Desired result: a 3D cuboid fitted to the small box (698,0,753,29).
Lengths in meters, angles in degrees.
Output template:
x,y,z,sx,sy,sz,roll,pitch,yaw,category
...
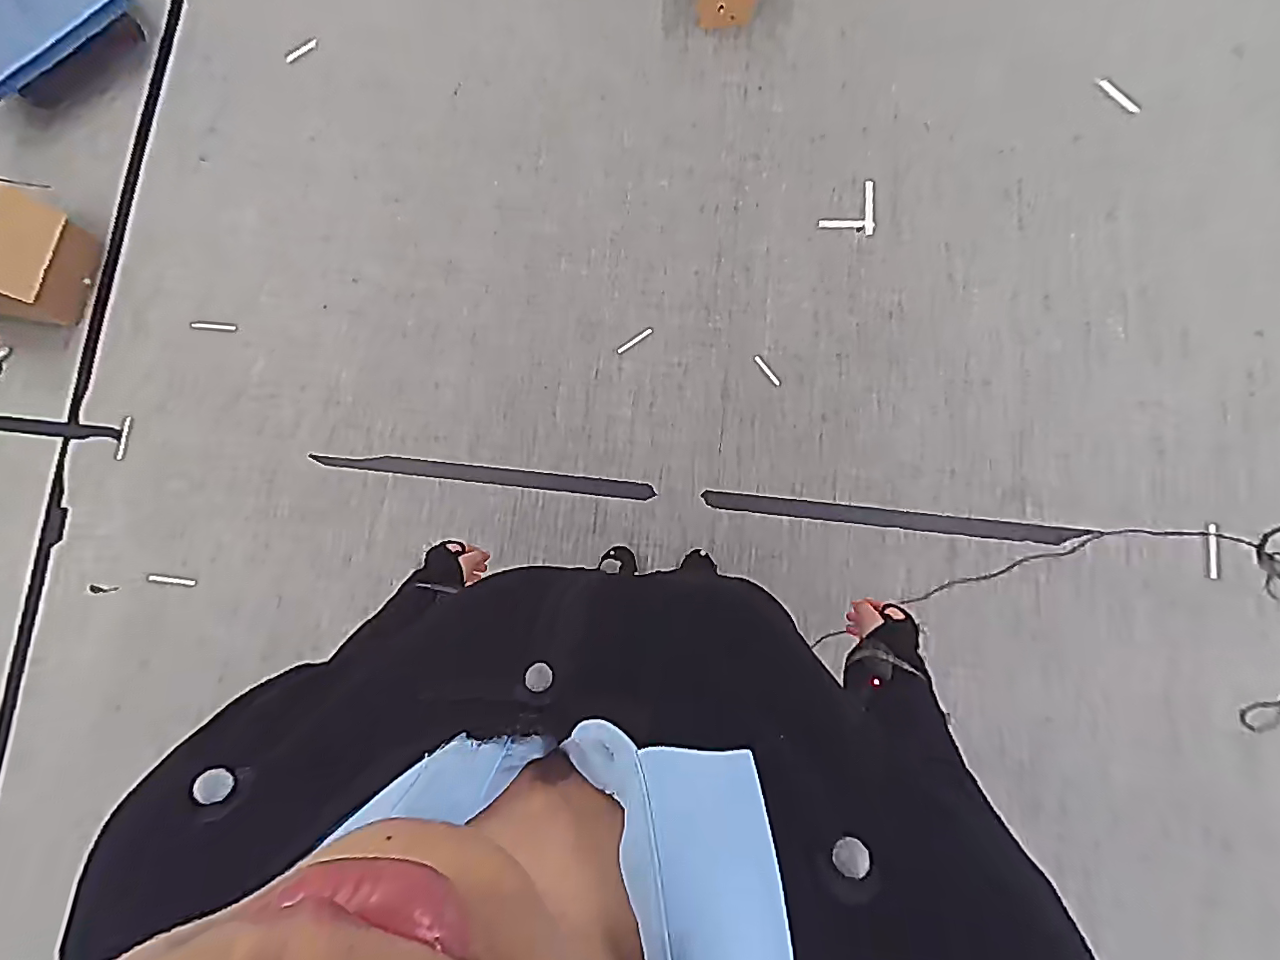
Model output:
x,y,z,sx,sy,sz,roll,pitch,yaw,category
0.264,-1.547,1.667,0.168,0.176,0.179,0,82,5,small box
